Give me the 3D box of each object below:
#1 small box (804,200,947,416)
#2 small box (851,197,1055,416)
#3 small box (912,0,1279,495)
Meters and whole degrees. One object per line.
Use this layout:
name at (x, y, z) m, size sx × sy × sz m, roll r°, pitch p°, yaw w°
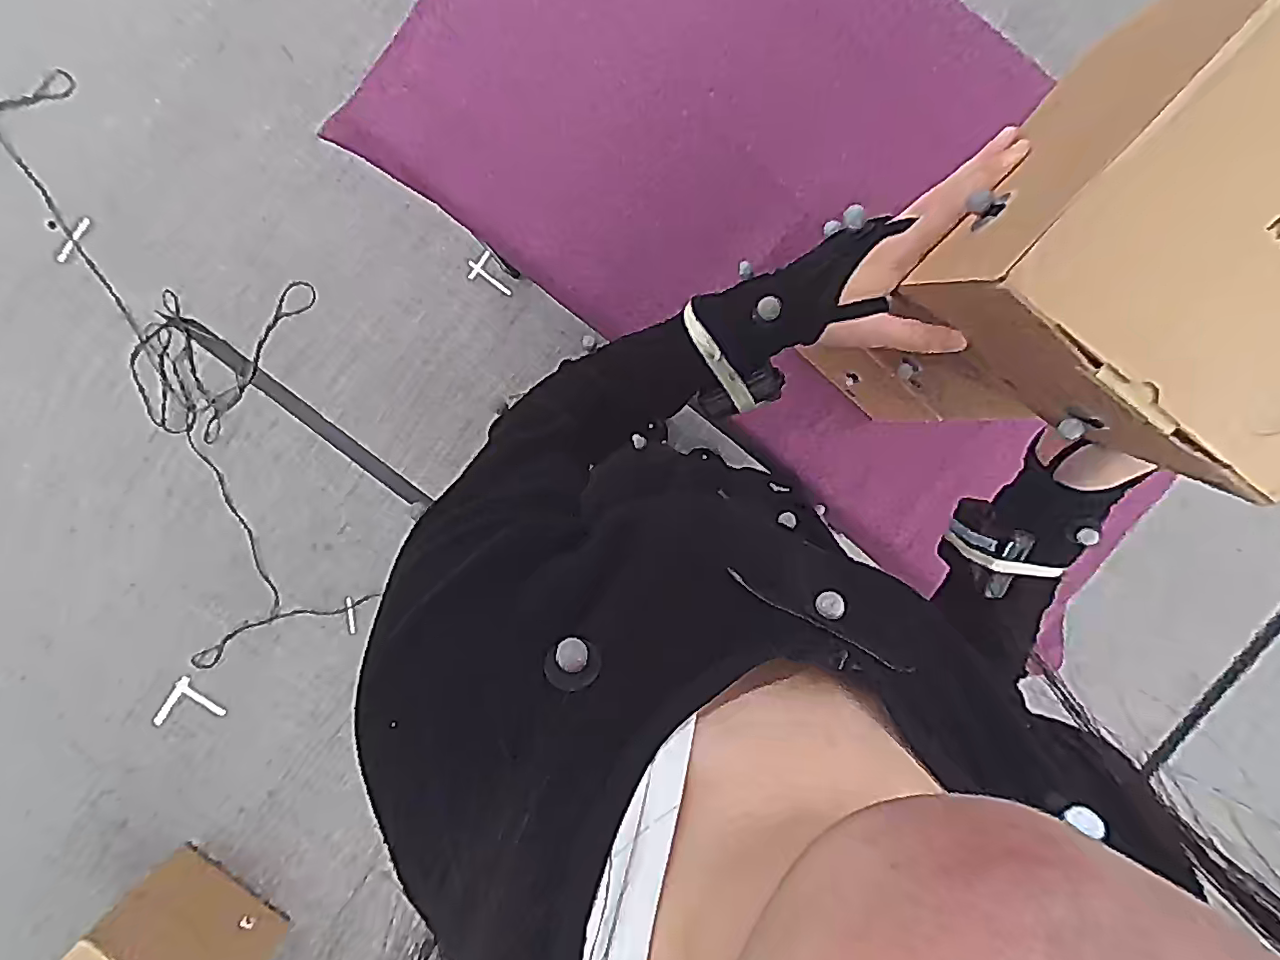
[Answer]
small box at (0.329, -0.194, 0.673) m, size 0.168 × 0.176 × 0.179 m, roll 41°, pitch 93°, yaw -5°
small box at (0.337, -0.178, 0.510) m, size 0.168 × 0.176 × 0.179 m, roll 41°, pitch 95°, yaw -5°
small box at (0.274, -0.127, 0.278) m, size 0.168 × 0.176 × 0.179 m, roll 35°, pitch 108°, yaw -6°
